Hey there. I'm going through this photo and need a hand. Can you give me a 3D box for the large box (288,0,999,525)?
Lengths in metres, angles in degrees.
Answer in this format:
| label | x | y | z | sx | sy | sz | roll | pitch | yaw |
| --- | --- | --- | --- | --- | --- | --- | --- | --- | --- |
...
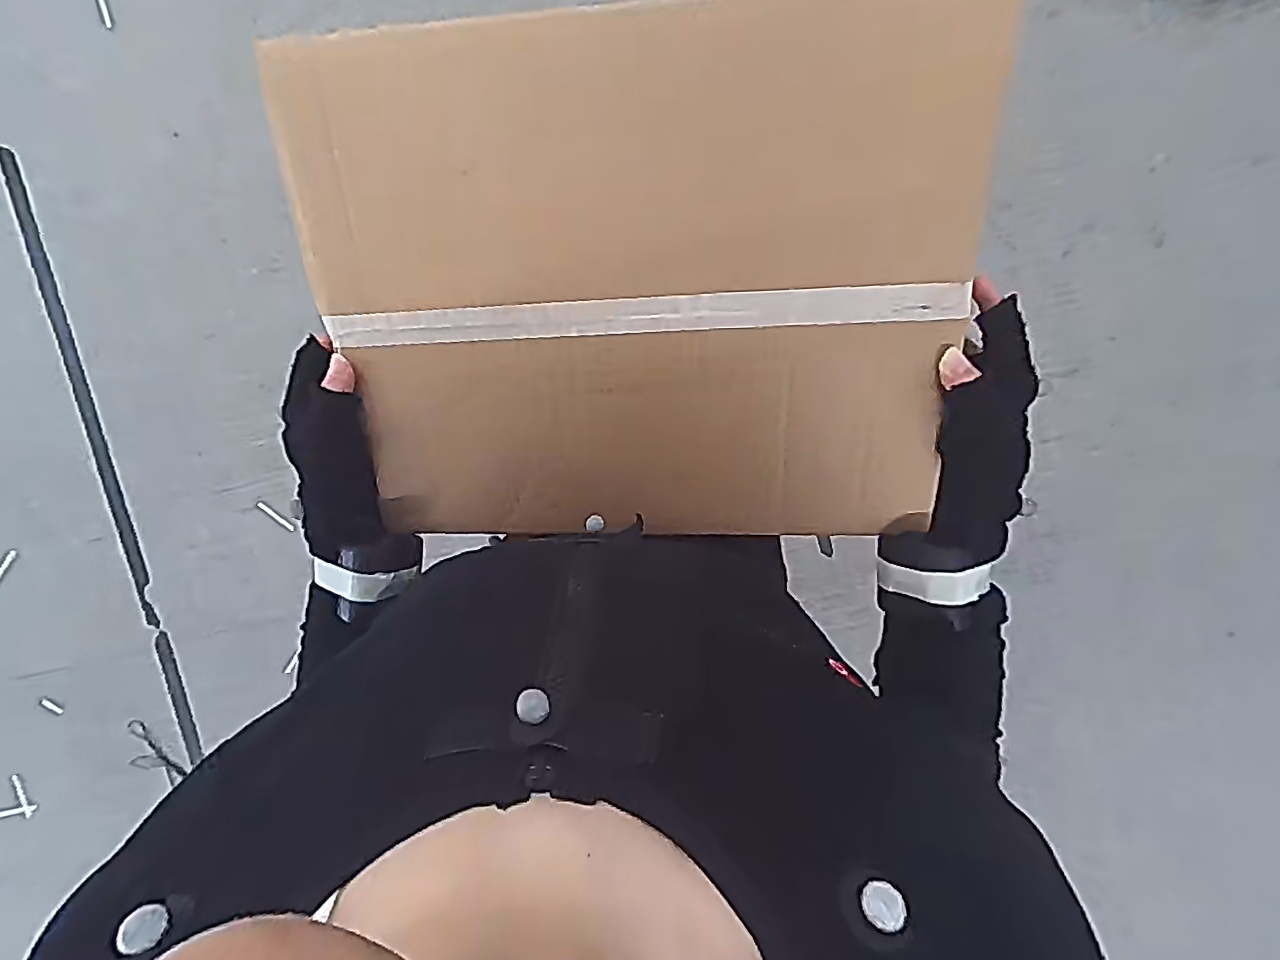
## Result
| label | x | y | z | sx | sy | sz | roll | pitch | yaw |
| --- | --- | --- | --- | --- | --- | --- | --- | --- | --- |
| large box | 0.009 | -0.169 | 0.490 | 0.408 | 0.320 | 0.320 | -1 | 115 | 6 |
